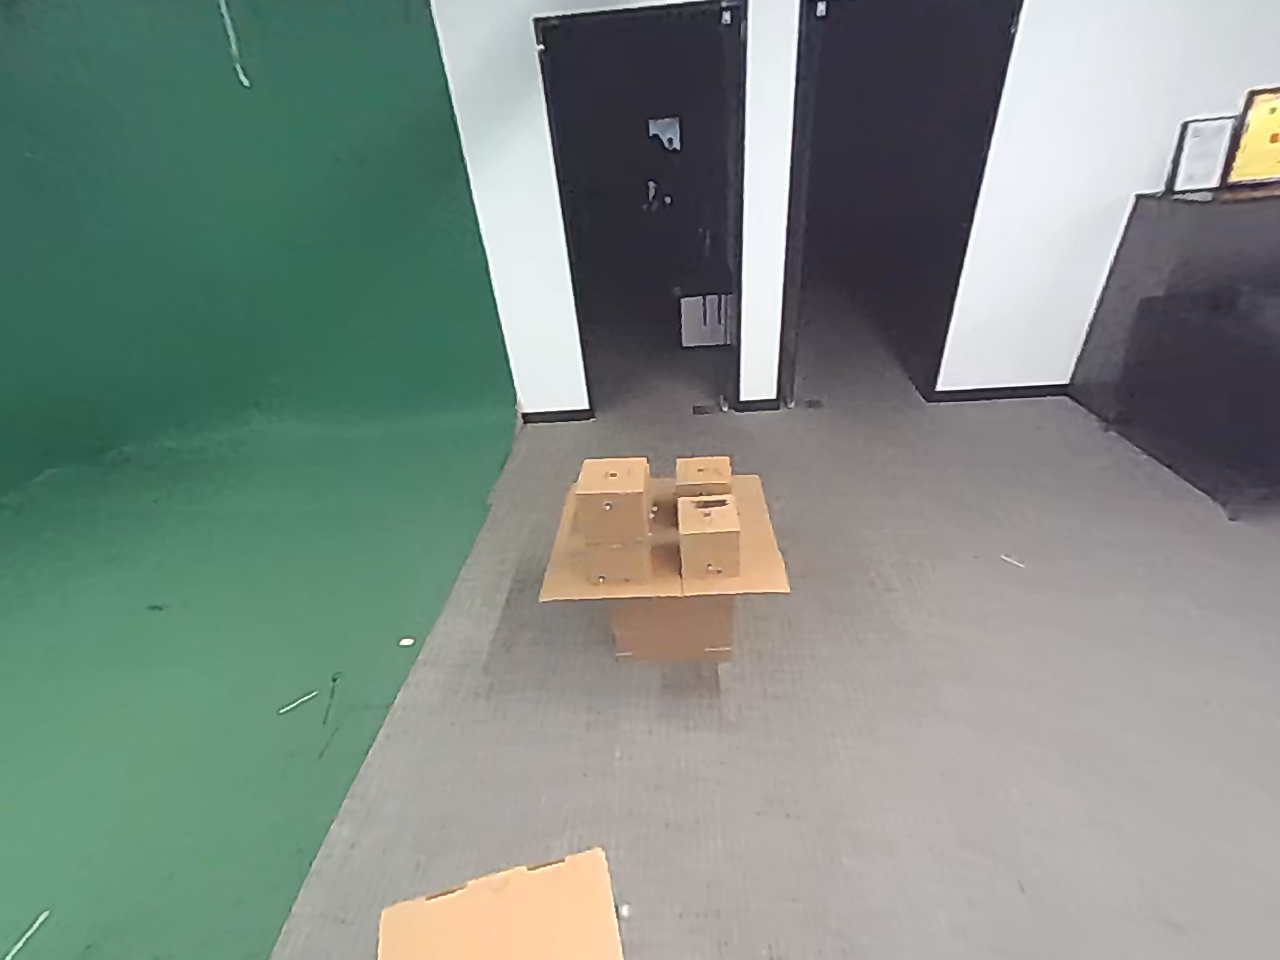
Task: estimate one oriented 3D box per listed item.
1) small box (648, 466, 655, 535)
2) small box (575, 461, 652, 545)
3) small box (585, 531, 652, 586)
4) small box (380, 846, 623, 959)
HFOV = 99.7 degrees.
[{"bbox_3d":[-0.041,0.072,1.750,0.168,0.176,0.179,-5,31,5],"label":"small box"},{"bbox_3d":[-0.065,0.063,1.462,0.179,0.176,0.168,-2,34,6],"label":"small box"},{"bbox_3d":[-0.054,0.192,1.563,0.168,0.176,0.179,-2,32,6],"label":"small box"},{"bbox_3d":[-0.092,0.414,0.401,0.168,0.176,0.179,-6,41,-14],"label":"small box"}]
